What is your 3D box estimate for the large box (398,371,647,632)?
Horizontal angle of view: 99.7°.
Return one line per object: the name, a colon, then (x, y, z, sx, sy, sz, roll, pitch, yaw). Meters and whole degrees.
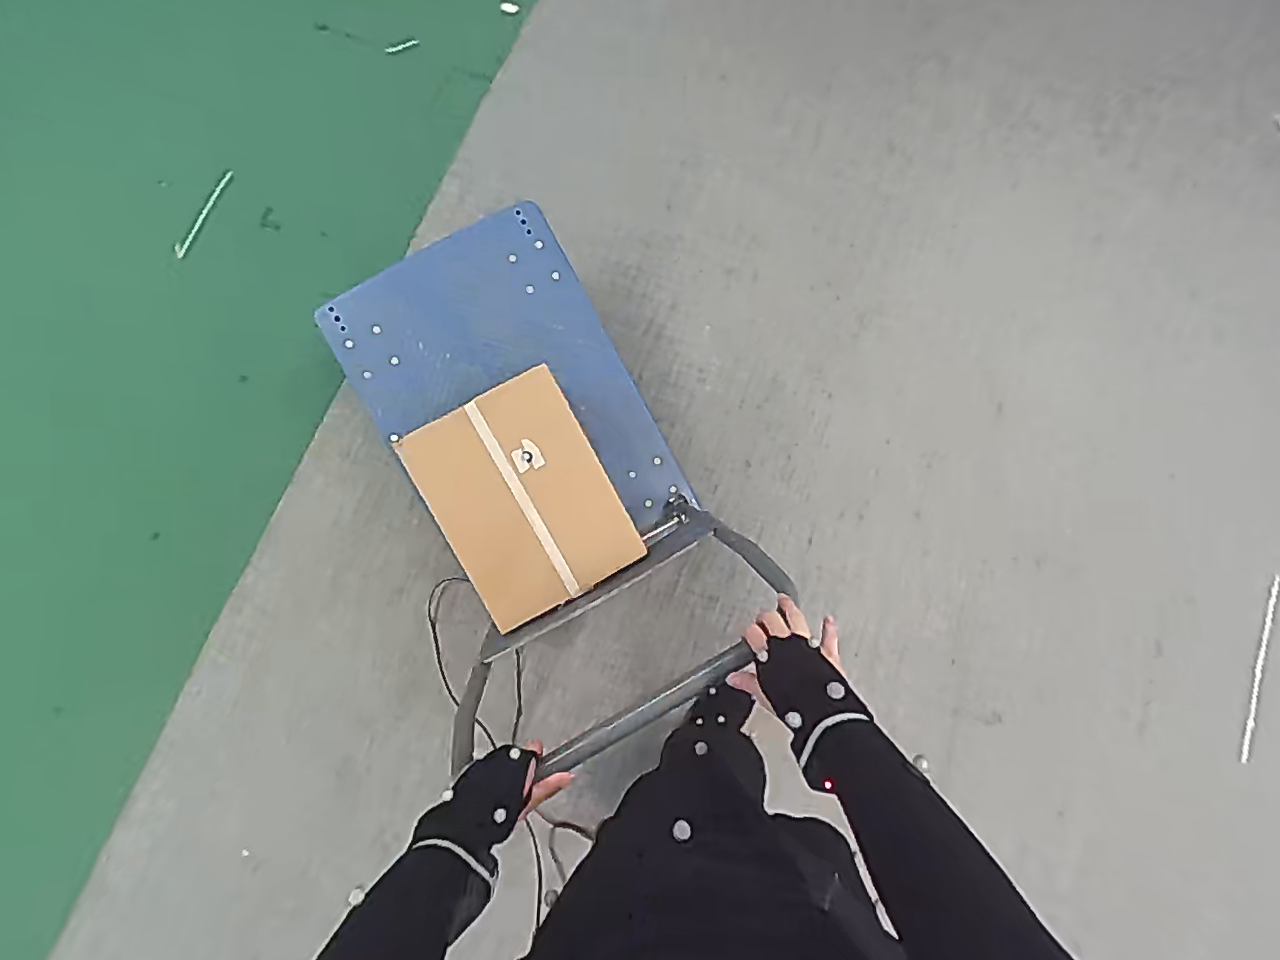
large box: (-0.223, 0.037, 1.148, 0.320, 0.320, 0.408, -29, 94, -4)
